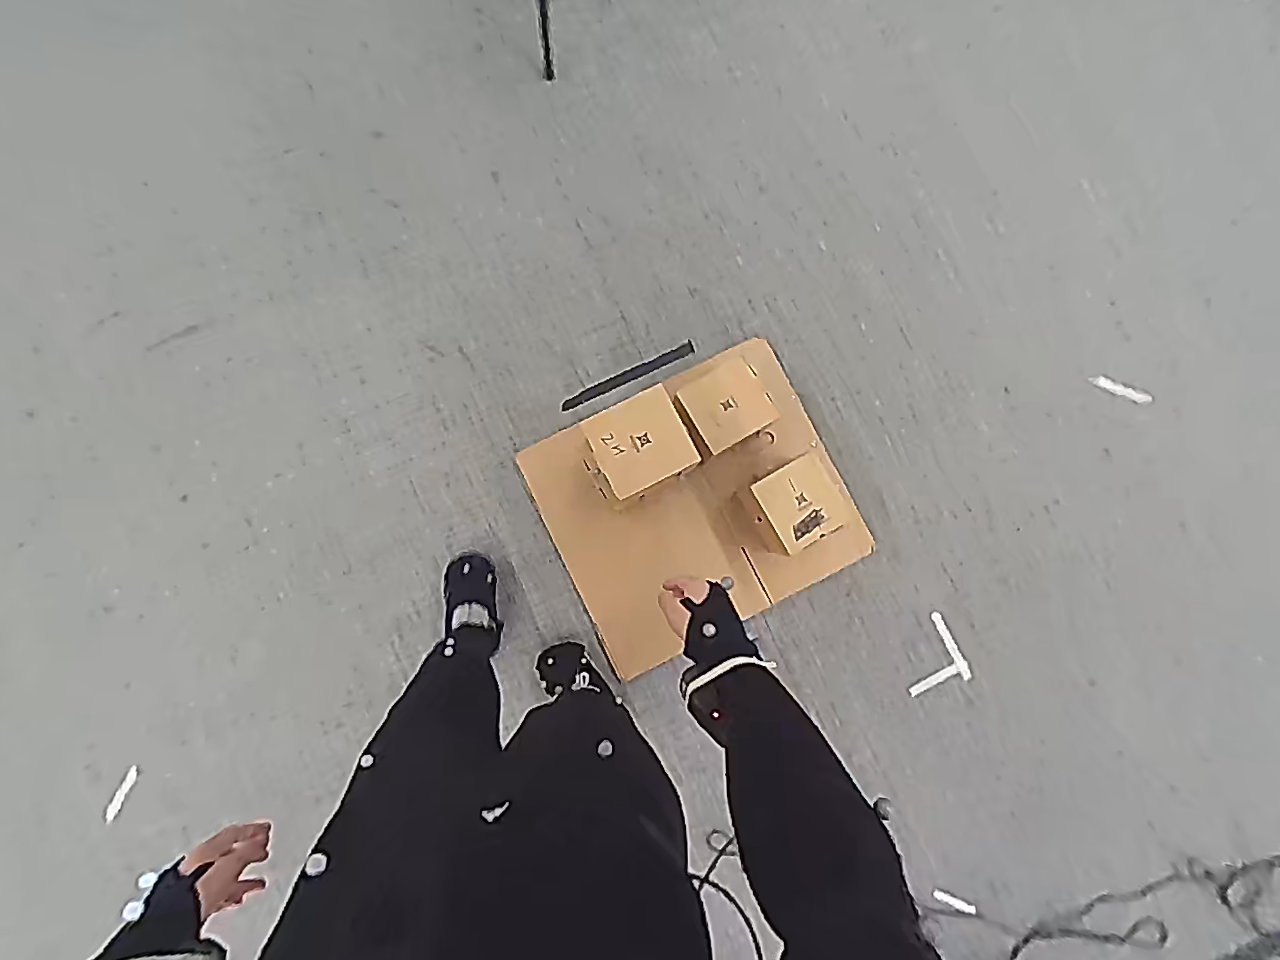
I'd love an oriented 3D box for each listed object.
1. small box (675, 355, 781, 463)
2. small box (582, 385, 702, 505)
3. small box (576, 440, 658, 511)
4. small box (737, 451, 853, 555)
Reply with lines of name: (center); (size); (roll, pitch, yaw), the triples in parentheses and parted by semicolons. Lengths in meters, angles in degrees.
small box: (0.191, -0.156, 1.251); (0.179, 0.176, 0.168); (-32, 85, -3)
small box: (0.001, -0.062, 1.071); (0.179, 0.176, 0.168); (-27, 85, -3)
small box: (-0.024, -0.038, 1.235); (0.179, 0.176, 0.168); (-31, 87, -2)
small box: (0.345, 0.053, 1.235); (0.168, 0.176, 0.179); (-30, 86, -3)
